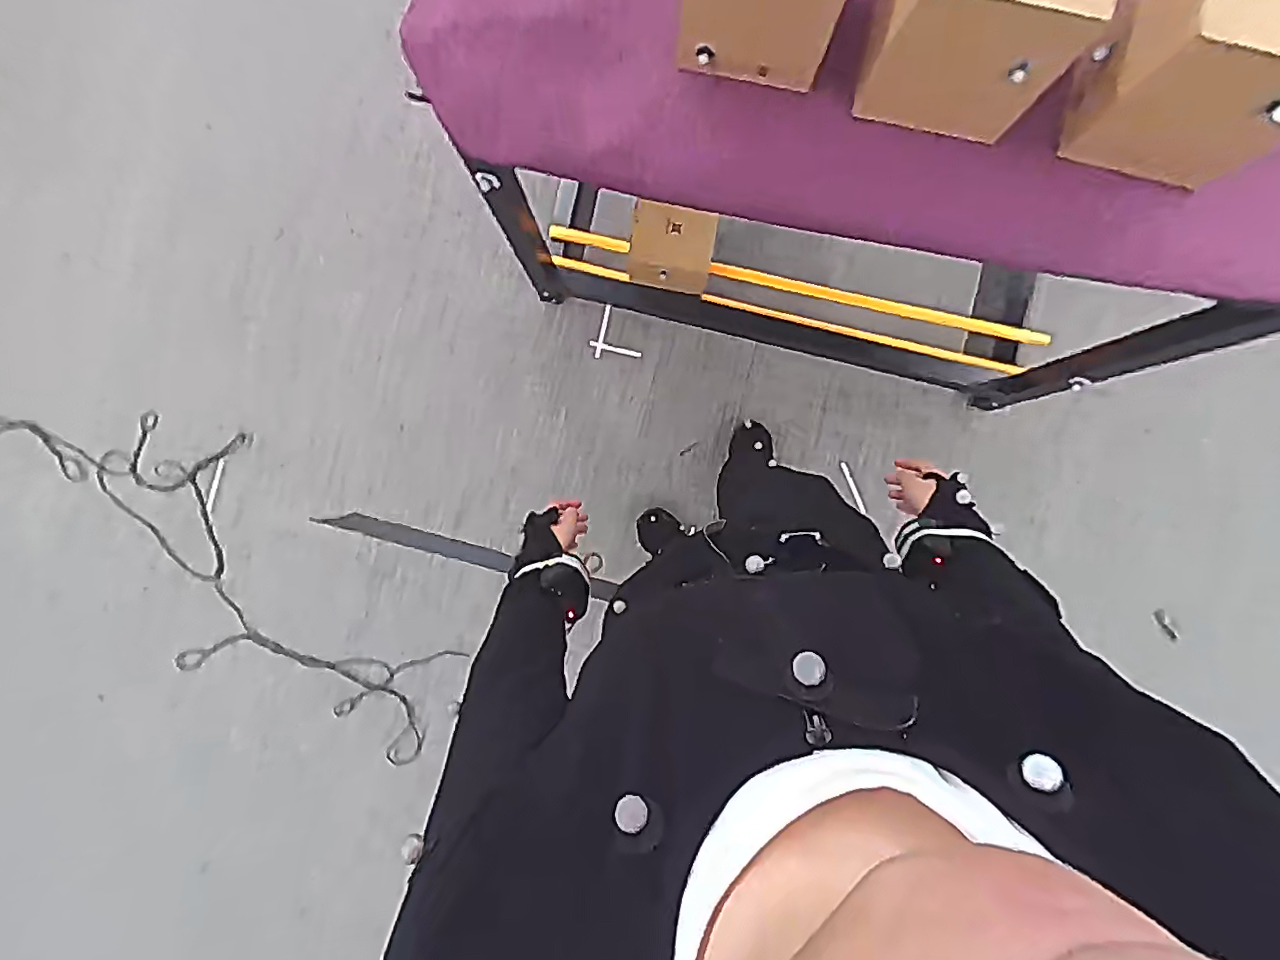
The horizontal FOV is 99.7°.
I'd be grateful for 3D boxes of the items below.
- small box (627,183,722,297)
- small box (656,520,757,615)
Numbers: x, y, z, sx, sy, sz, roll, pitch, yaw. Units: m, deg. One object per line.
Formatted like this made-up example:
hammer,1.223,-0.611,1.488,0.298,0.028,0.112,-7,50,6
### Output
small box,0.073,-0.520,1.195,0.179,0.176,0.168,9,90,2
small box,0.150,0.201,1.266,0.179,0.176,0.168,-28,85,0
